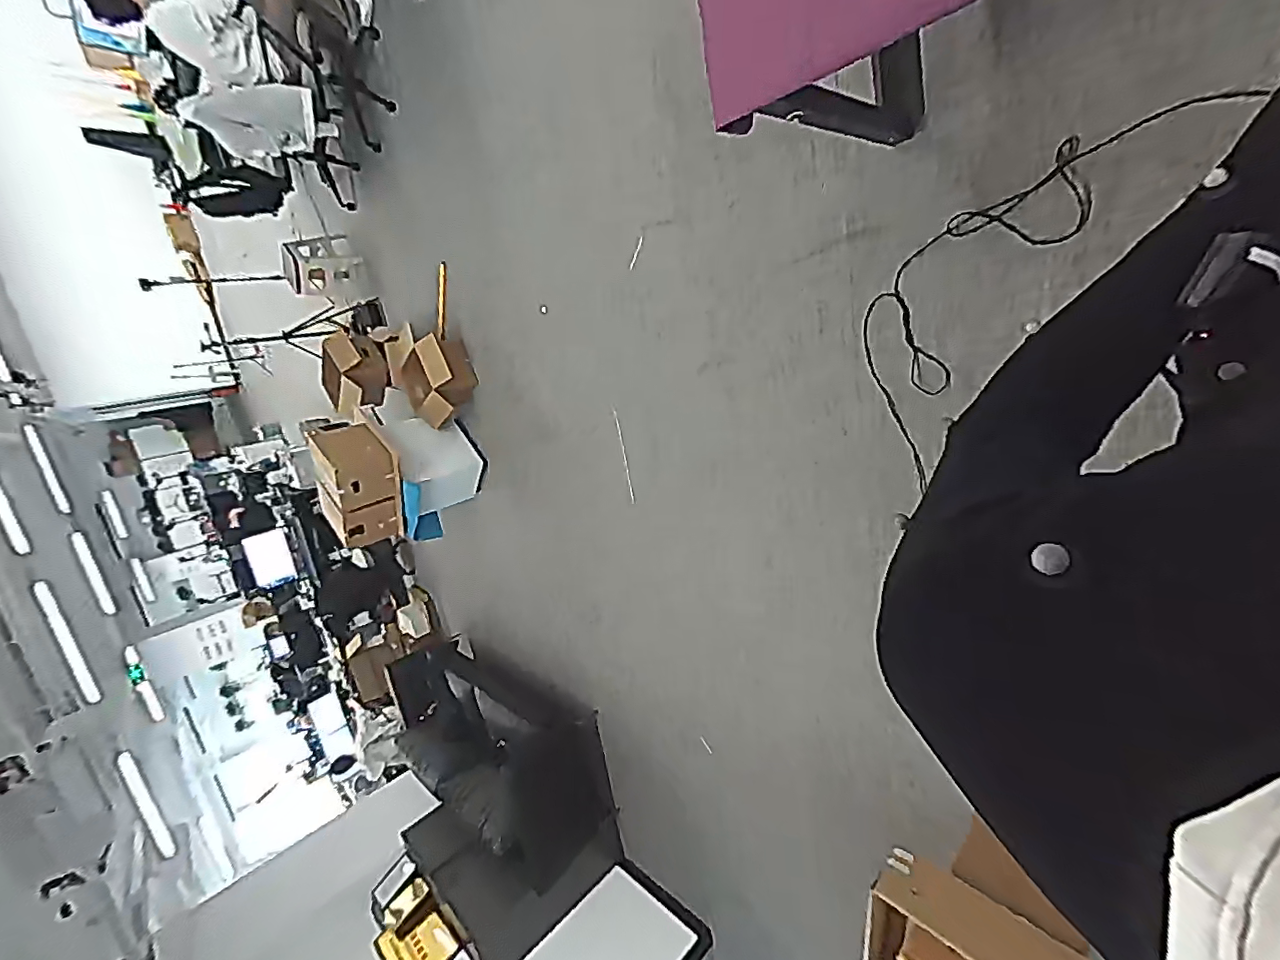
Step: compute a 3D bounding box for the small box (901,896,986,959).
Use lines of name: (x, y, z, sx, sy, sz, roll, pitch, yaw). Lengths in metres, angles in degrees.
small box: (0.844, 1.331, 1.506, 0.168, 0.176, 0.179, 13, 116, 43)
